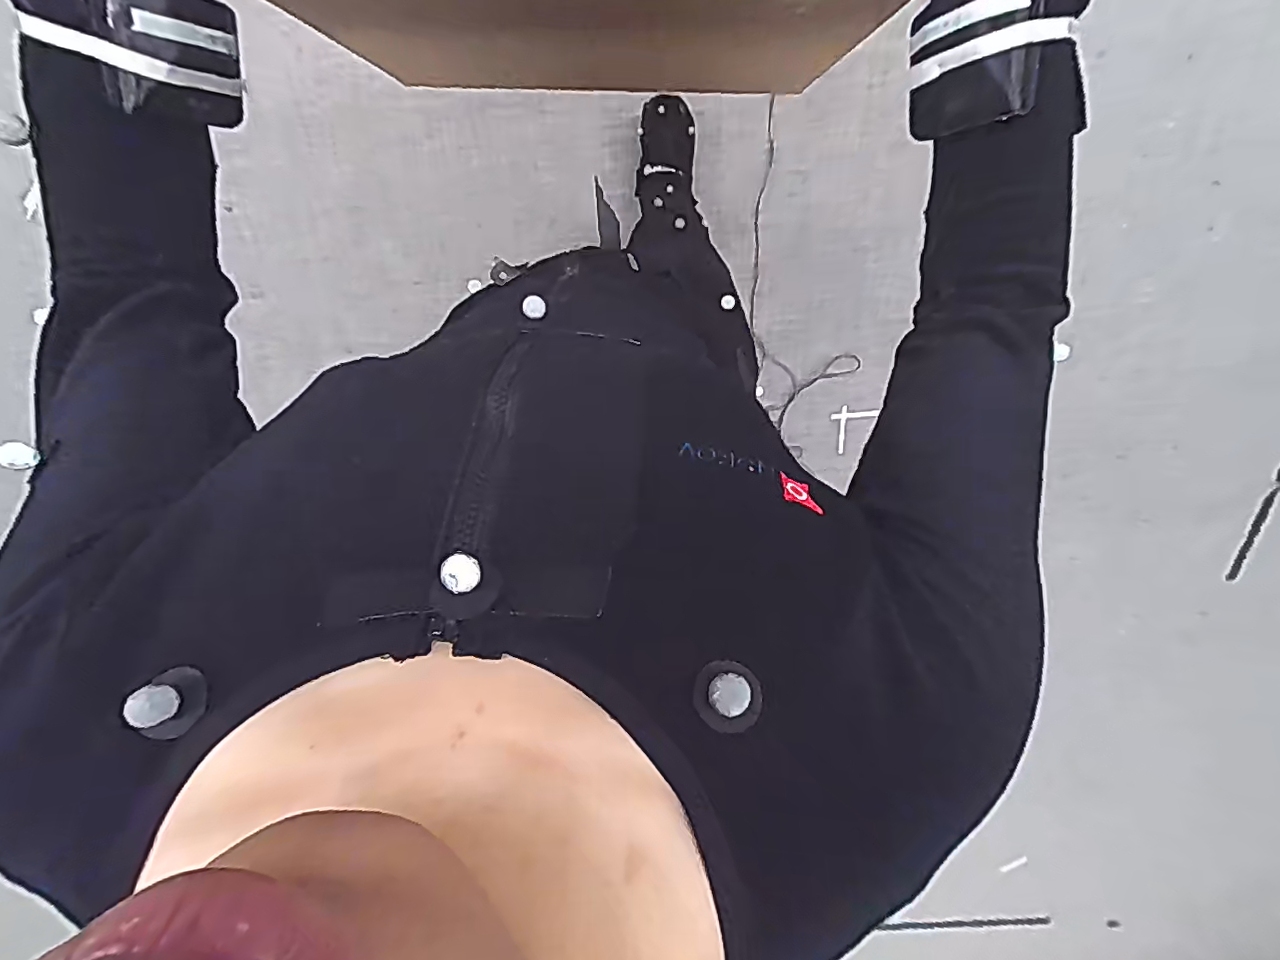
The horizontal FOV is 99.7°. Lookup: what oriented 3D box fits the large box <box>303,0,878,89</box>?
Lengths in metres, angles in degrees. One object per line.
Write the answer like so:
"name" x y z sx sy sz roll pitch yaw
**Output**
"large box" -0.033 -0.480 0.352 0.408 0.320 0.320 0 115 -1
